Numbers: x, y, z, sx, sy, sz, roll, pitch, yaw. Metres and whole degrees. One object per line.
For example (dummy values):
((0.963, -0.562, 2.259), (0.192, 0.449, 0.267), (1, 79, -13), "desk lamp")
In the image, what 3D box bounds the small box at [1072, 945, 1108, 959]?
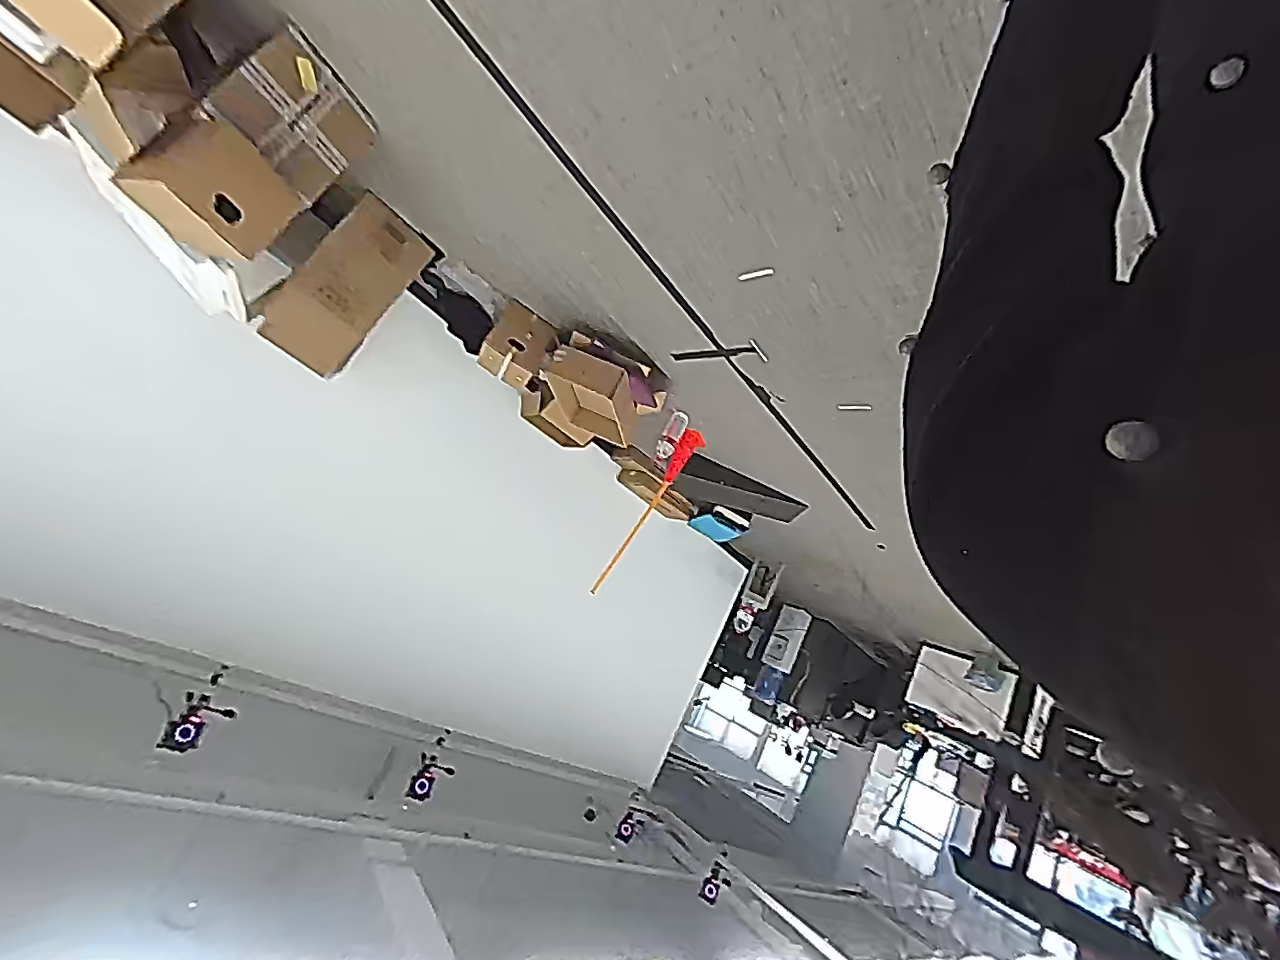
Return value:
((1.173, 1.306, 1.345), (0.168, 0.176, 0.179), (11, 159, 46), "small box")
